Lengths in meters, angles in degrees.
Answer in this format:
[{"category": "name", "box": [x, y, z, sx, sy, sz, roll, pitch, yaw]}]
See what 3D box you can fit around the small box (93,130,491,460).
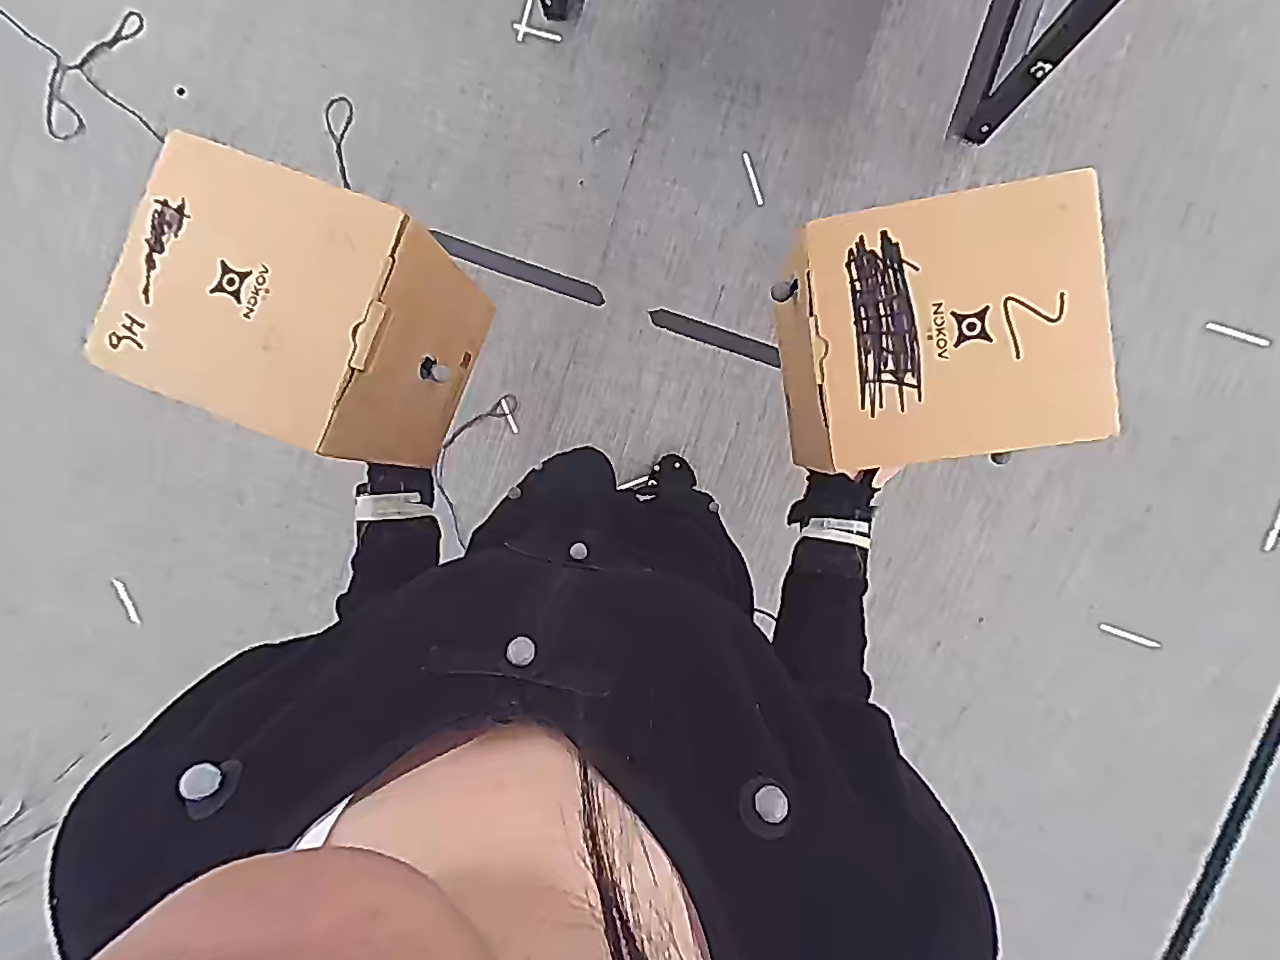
[{"category": "small box", "box": [-0.242, -0.120, 0.426, 0.179, 0.176, 0.168, 21, 89, 3]}]
